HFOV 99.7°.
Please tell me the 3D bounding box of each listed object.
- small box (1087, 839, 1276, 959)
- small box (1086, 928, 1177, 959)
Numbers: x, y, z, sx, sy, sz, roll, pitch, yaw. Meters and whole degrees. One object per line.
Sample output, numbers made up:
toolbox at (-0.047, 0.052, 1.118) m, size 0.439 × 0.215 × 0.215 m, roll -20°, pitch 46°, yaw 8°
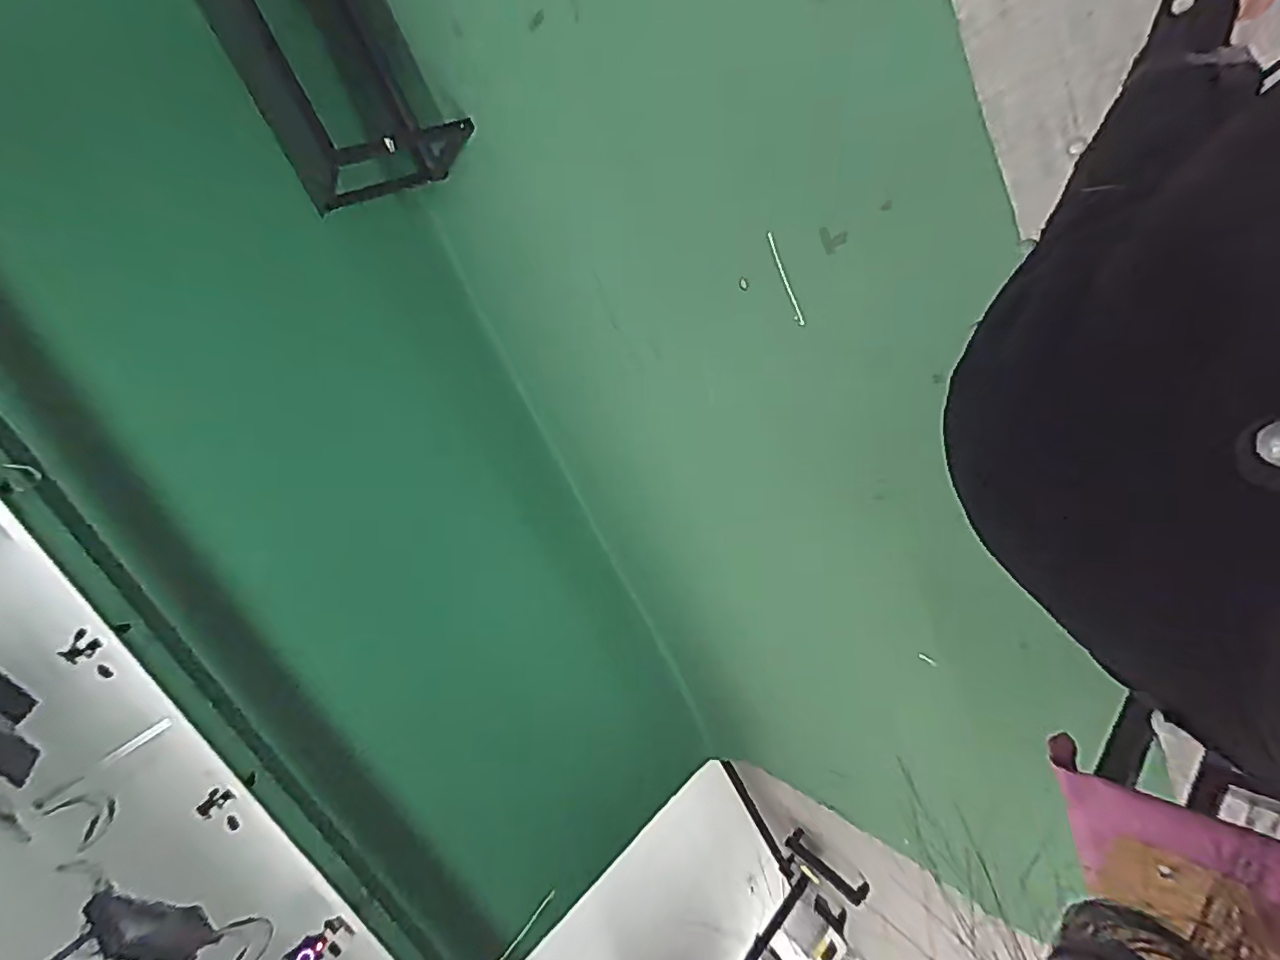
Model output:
small box at (0.902, 0.752, 0.904) m, size 0.179 × 0.176 × 0.168 m, roll -8°, pitch 114°, yaw 60°
small box at (0.792, 0.840, 0.820) m, size 0.179 × 0.176 × 0.168 m, roll 1°, pitch 121°, yaw 56°
